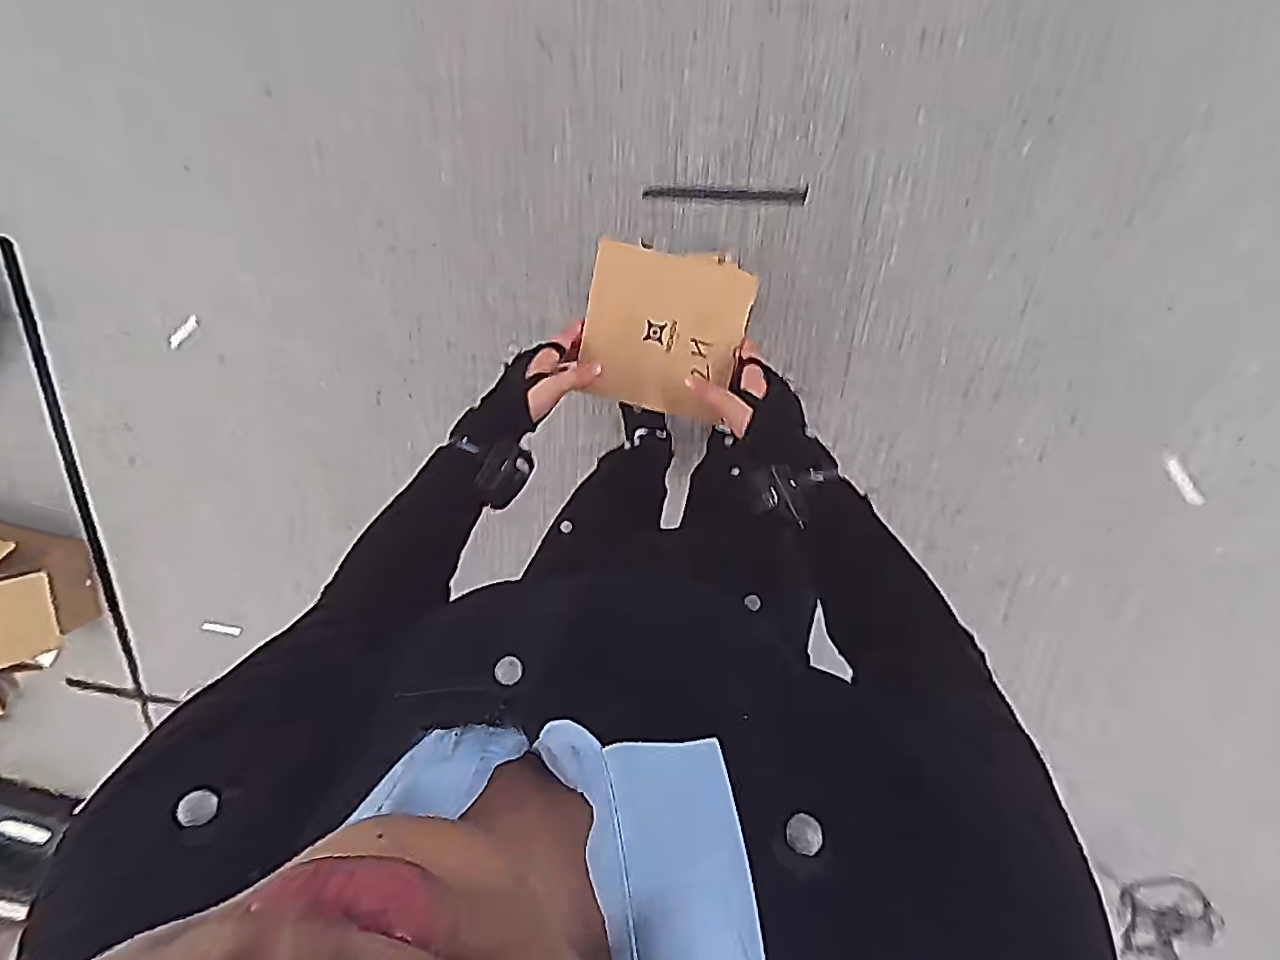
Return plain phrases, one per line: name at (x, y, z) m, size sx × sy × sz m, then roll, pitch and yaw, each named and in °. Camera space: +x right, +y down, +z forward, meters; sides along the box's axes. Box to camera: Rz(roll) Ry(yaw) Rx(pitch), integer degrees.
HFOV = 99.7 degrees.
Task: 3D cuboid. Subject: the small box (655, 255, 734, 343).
small box at (0.123, -0.405, 1.217) m, size 0.168 × 0.176 × 0.179 m, roll 1°, pitch 109°, yaw 9°
